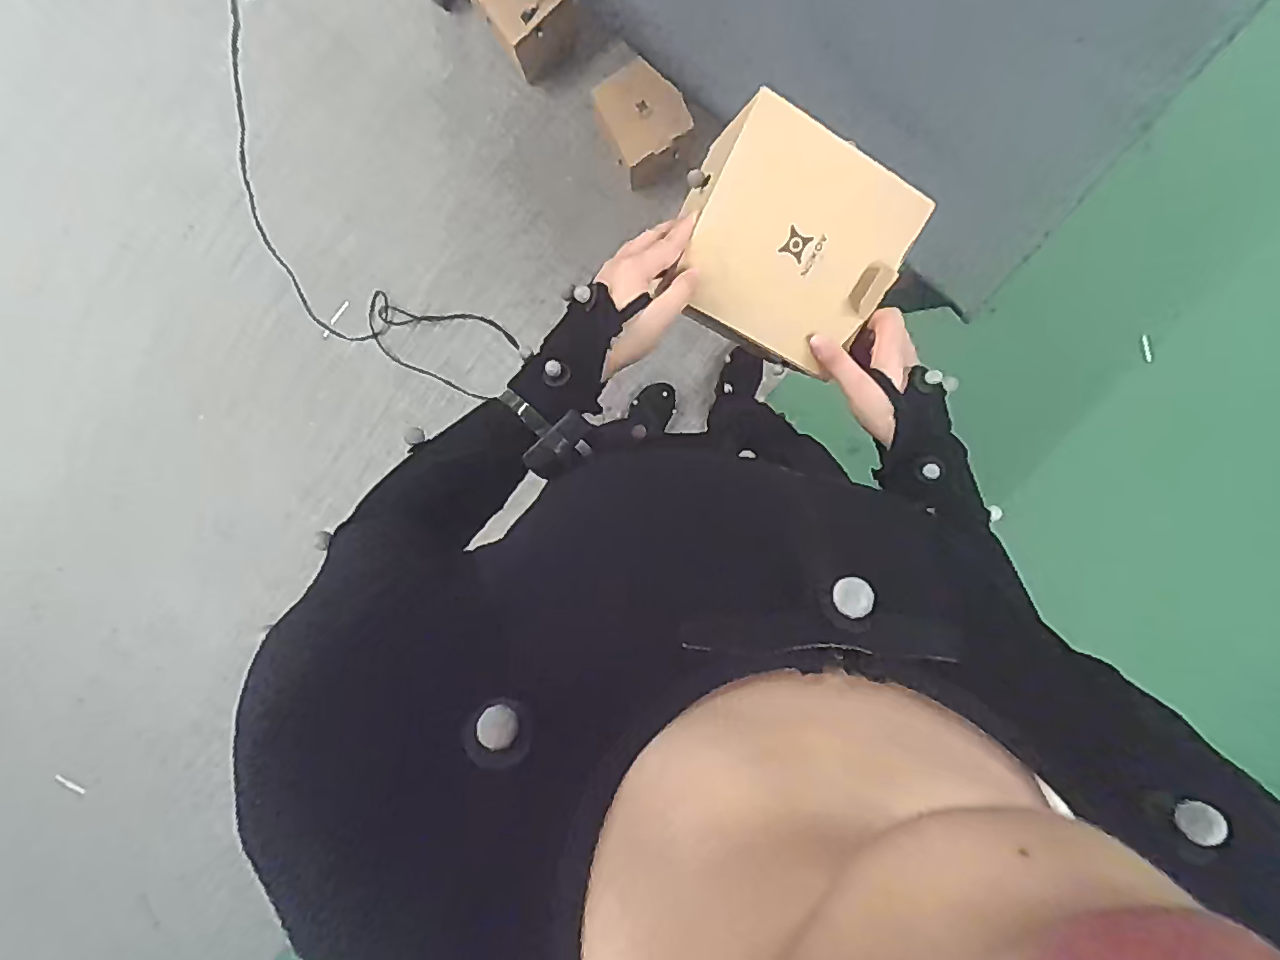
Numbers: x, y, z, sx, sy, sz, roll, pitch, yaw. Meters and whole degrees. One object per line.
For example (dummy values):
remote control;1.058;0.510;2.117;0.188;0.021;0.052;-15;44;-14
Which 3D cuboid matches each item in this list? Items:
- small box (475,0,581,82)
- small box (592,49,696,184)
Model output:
small box;-0.249;-1.029;1.176;0.168;0.176;0.179;-38;99;8
small box;0.010;-0.804;1.226;0.168;0.176;0.179;-30;100;6
